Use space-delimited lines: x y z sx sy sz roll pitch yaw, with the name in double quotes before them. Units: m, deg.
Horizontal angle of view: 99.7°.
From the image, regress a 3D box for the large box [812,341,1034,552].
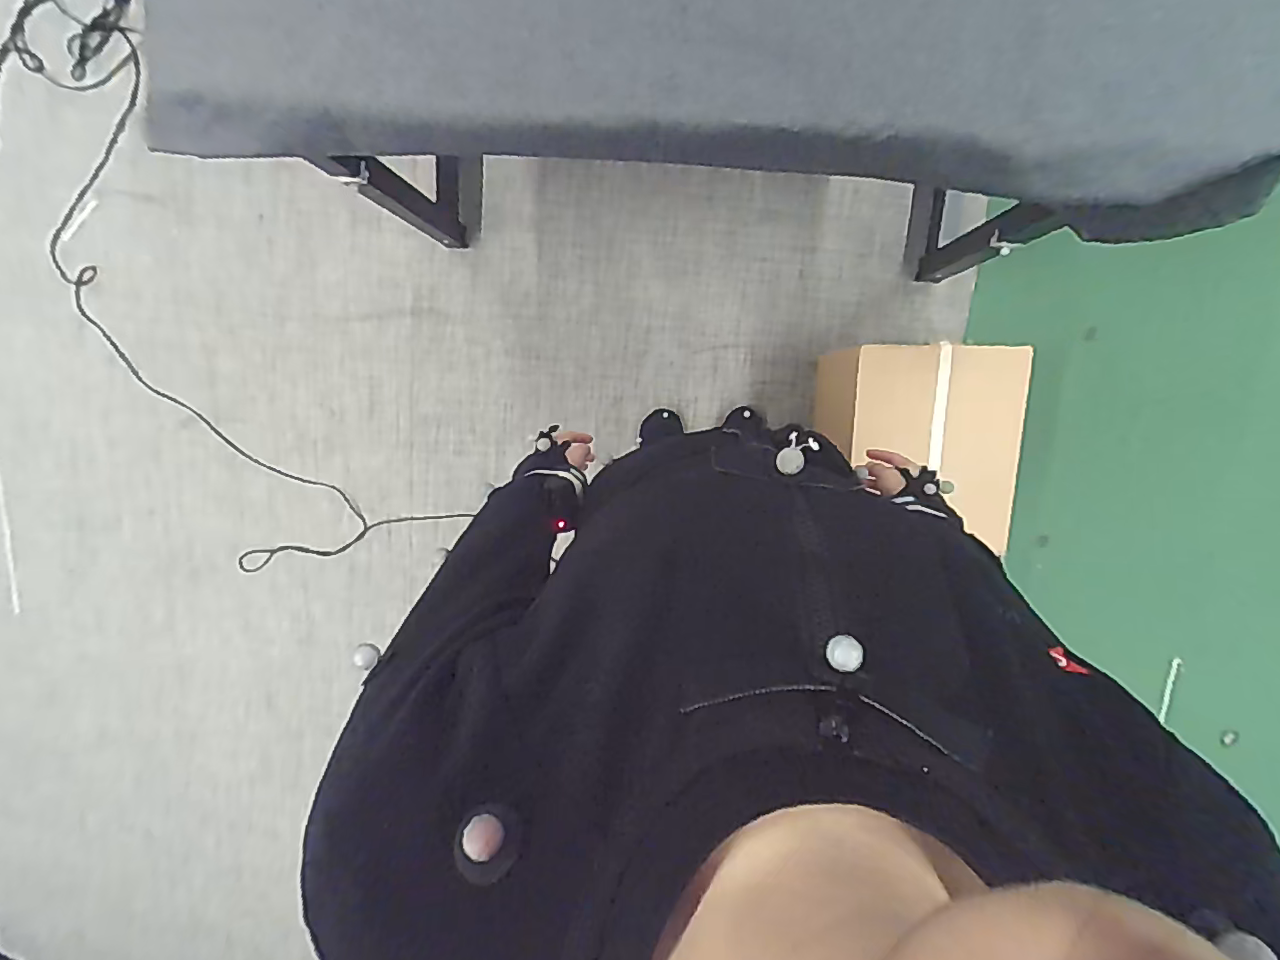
"large box" 0.572 -0.085 1.167 0.320 0.320 0.408 2 100 4
